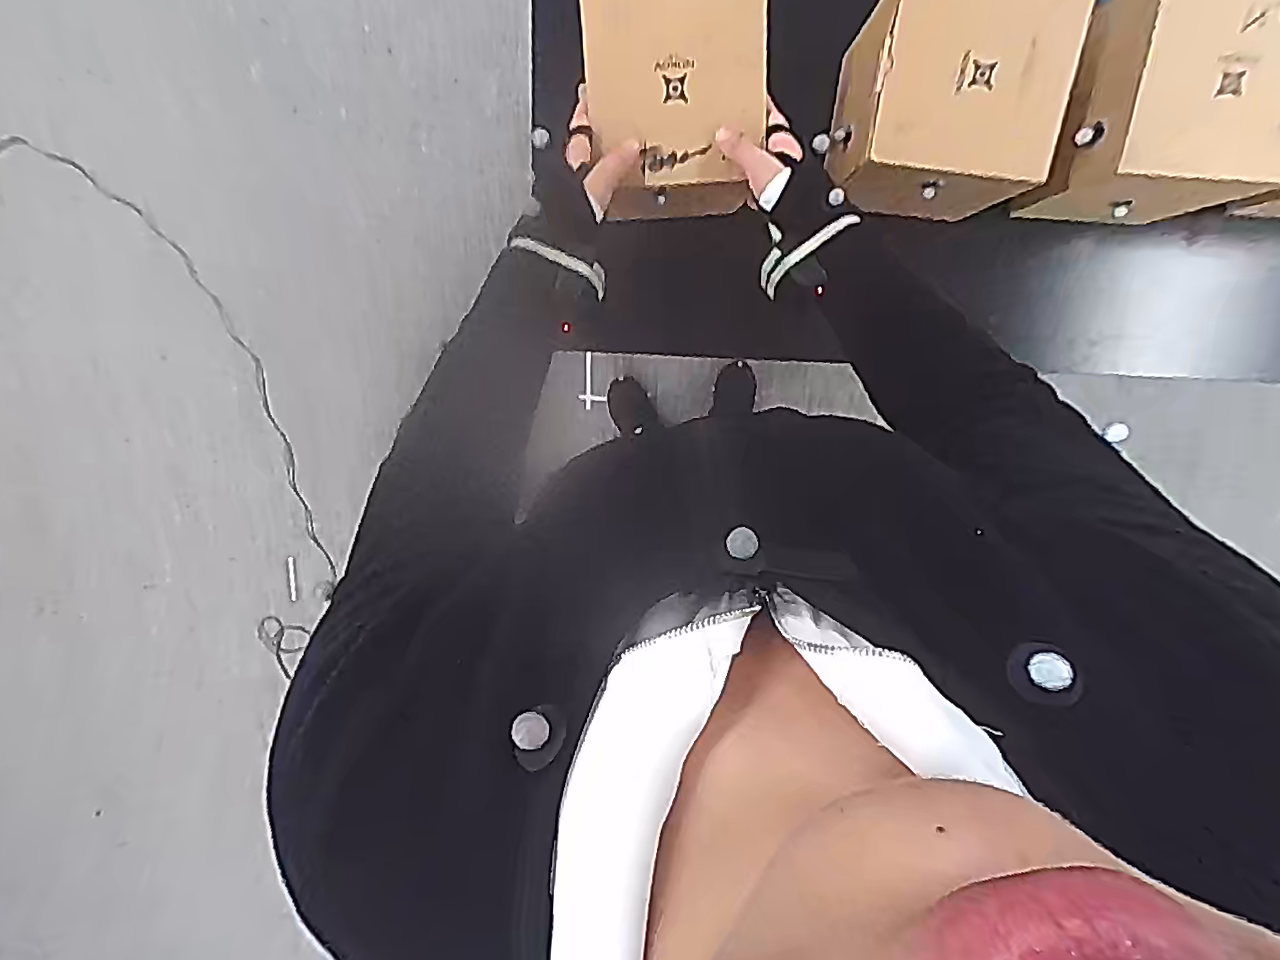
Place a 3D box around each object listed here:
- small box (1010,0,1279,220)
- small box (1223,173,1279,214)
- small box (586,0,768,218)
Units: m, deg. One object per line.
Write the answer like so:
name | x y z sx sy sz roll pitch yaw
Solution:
small box | 0.539 -0.392 0.579 0.168 0.176 0.179 4 103 1
small box | 0.800 -0.386 0.571 0.179 0.176 0.168 5 103 0
small box | 0.034 -0.392 0.572 0.168 0.176 0.179 -2 107 1
